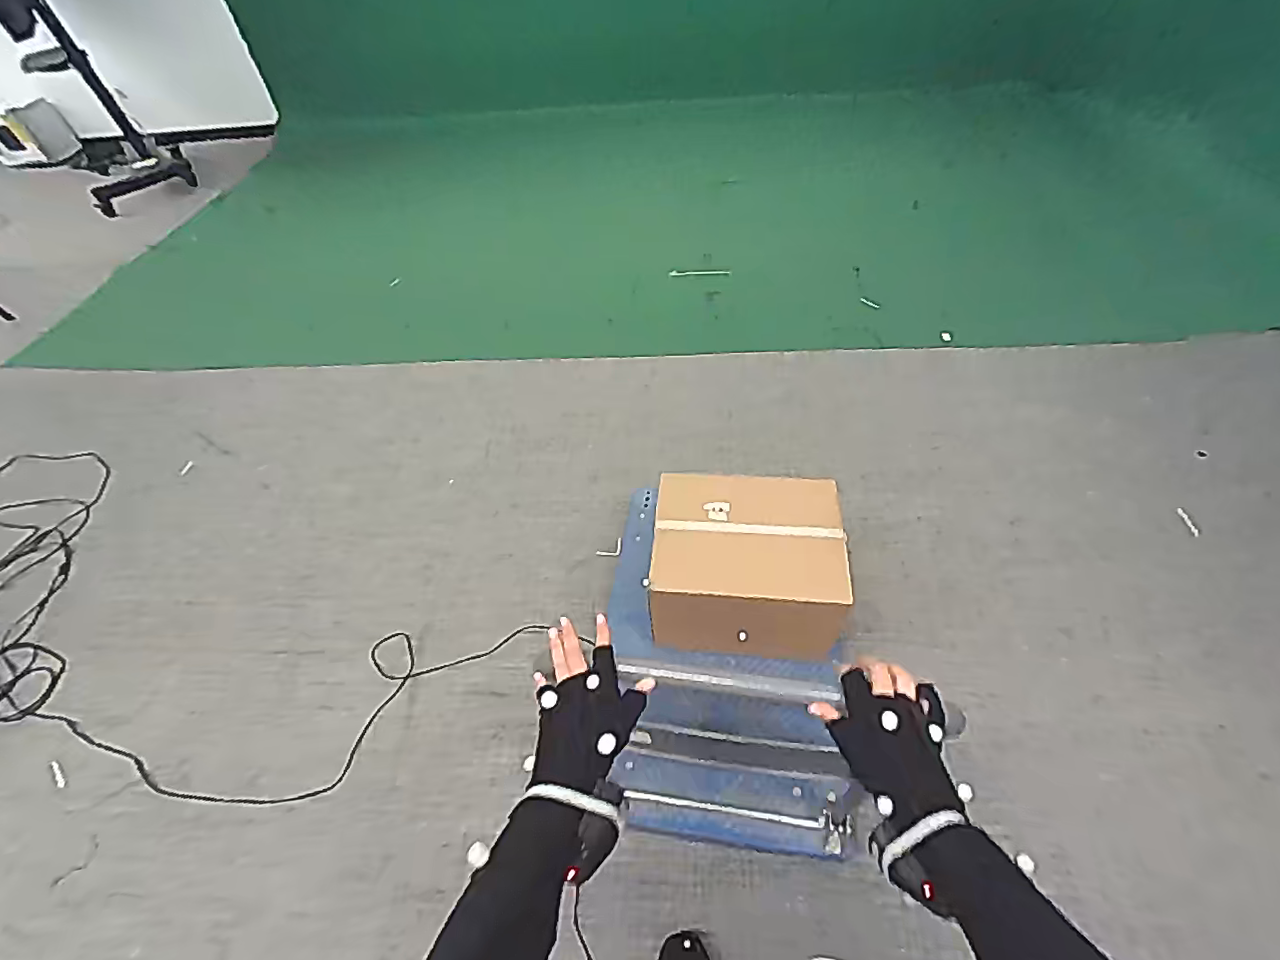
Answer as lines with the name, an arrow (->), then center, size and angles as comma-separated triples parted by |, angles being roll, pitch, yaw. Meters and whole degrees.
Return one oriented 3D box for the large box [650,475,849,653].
large box -> 0.245, 0.203, 1.295 | 0.408, 0.320, 0.320 | 2, 50, 7
